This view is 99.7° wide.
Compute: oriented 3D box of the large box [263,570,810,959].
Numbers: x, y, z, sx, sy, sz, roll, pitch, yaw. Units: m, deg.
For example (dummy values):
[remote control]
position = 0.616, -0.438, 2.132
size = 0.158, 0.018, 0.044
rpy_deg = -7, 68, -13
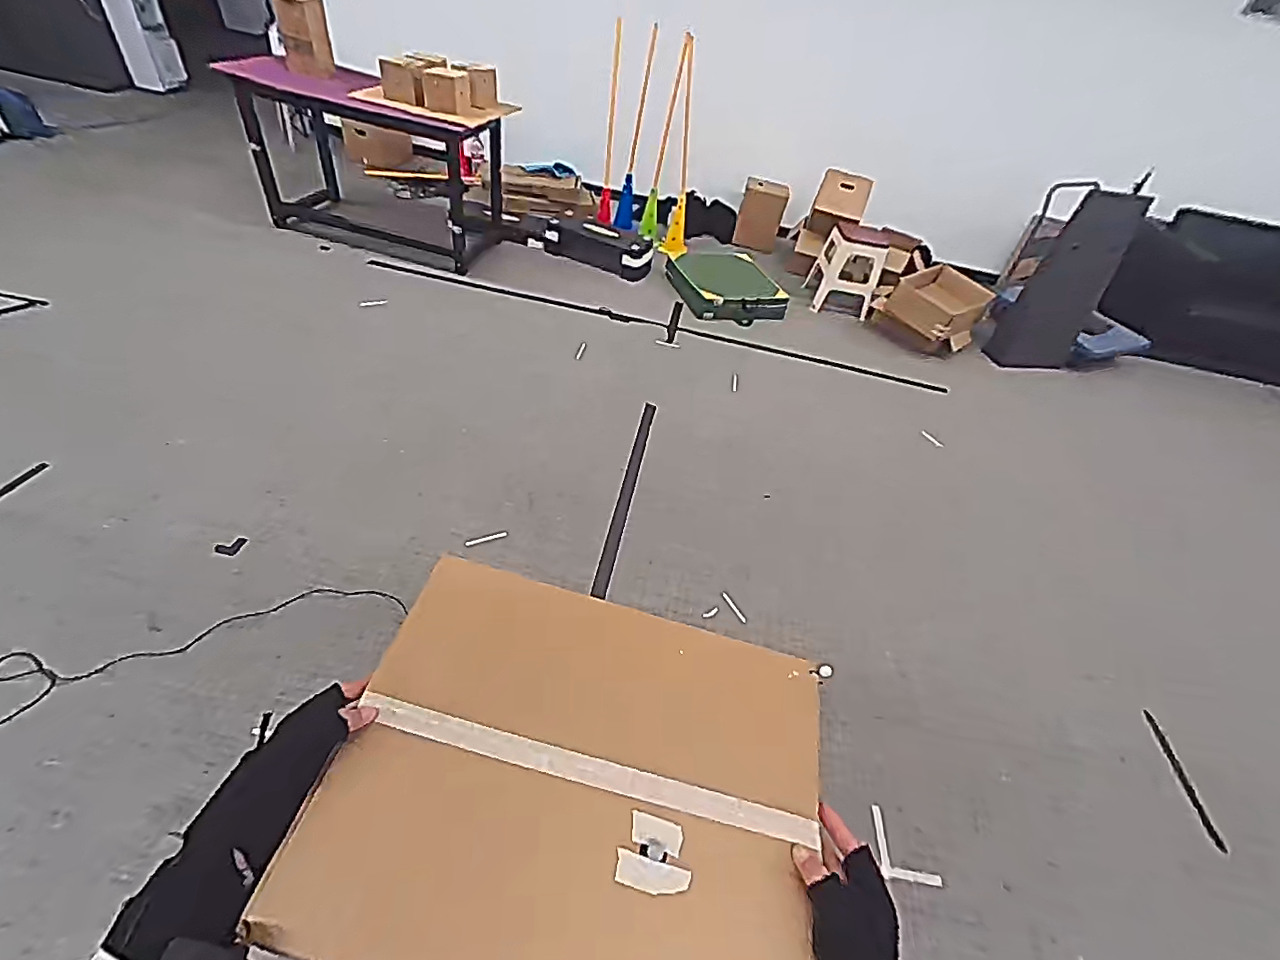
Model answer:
[large box]
position = -0.072, 0.349, 0.582
size = 0.408, 0.320, 0.320
rpy_deg = 16, 49, 0
